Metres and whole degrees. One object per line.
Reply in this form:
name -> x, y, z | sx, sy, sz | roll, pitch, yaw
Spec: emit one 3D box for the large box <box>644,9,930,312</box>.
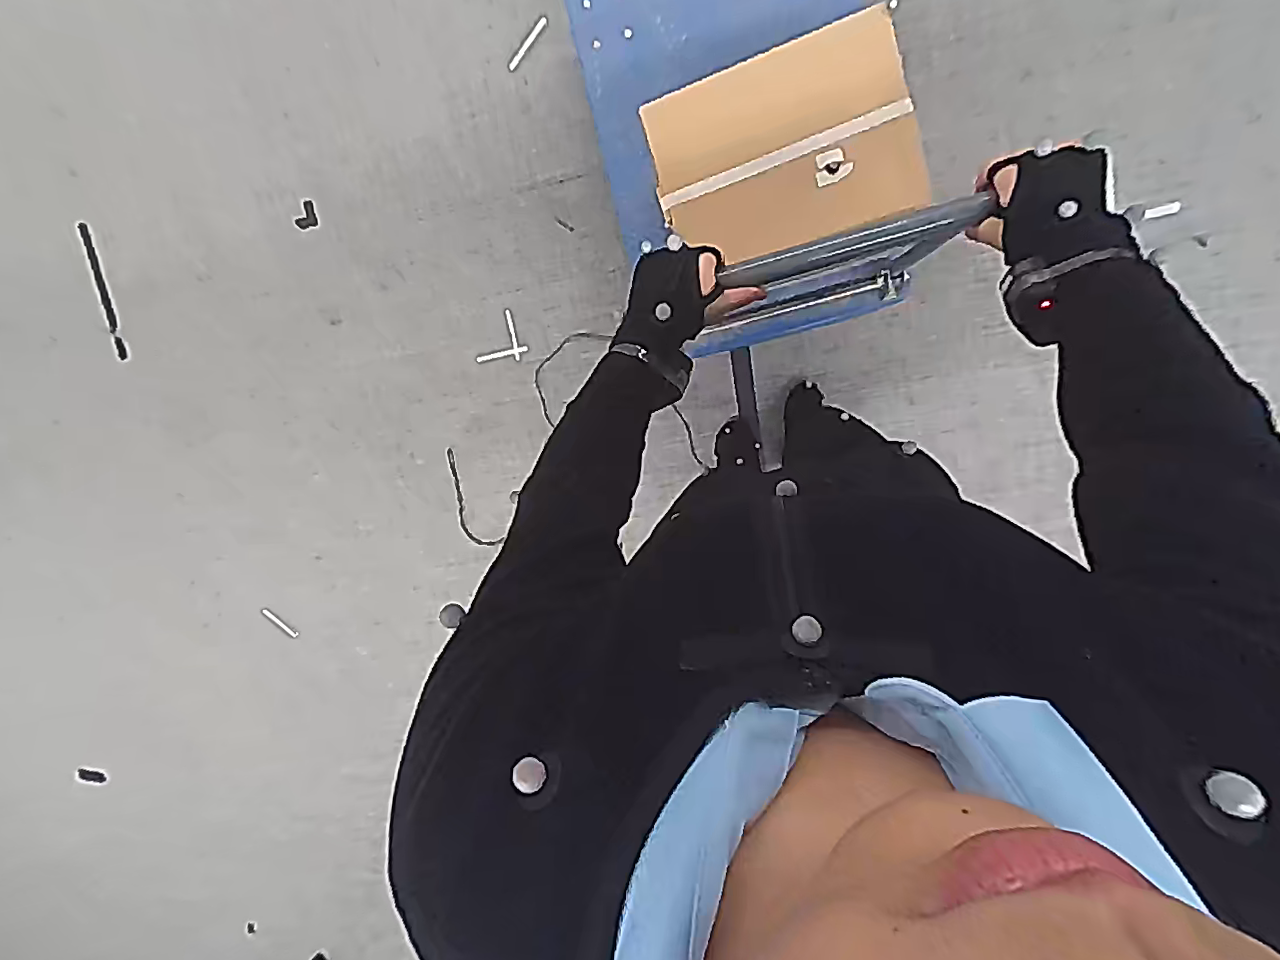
large box -> 0.256, -0.555, 1.036 | 0.408, 0.320, 0.320 | -17, 99, 10
